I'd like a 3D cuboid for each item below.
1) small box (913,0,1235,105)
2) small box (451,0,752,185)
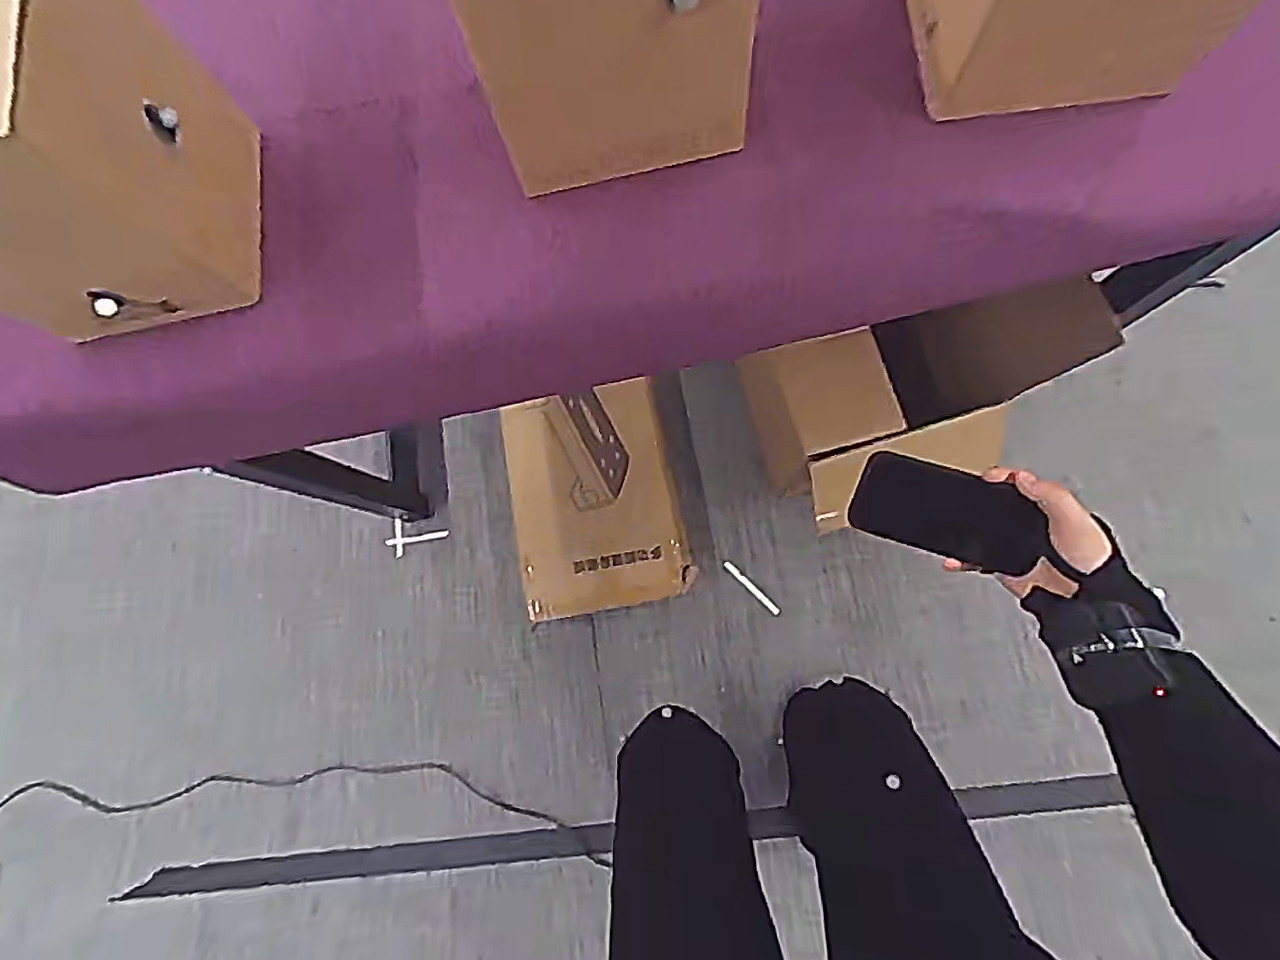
[{"bbox_3d":[0.289,-0.376,0.341,0.179,0.176,0.168,-4,77,4],"label":"small box"},{"bbox_3d":[-0.026,-0.338,0.363,0.179,0.176,0.168,-11,74,3],"label":"small box"}]
